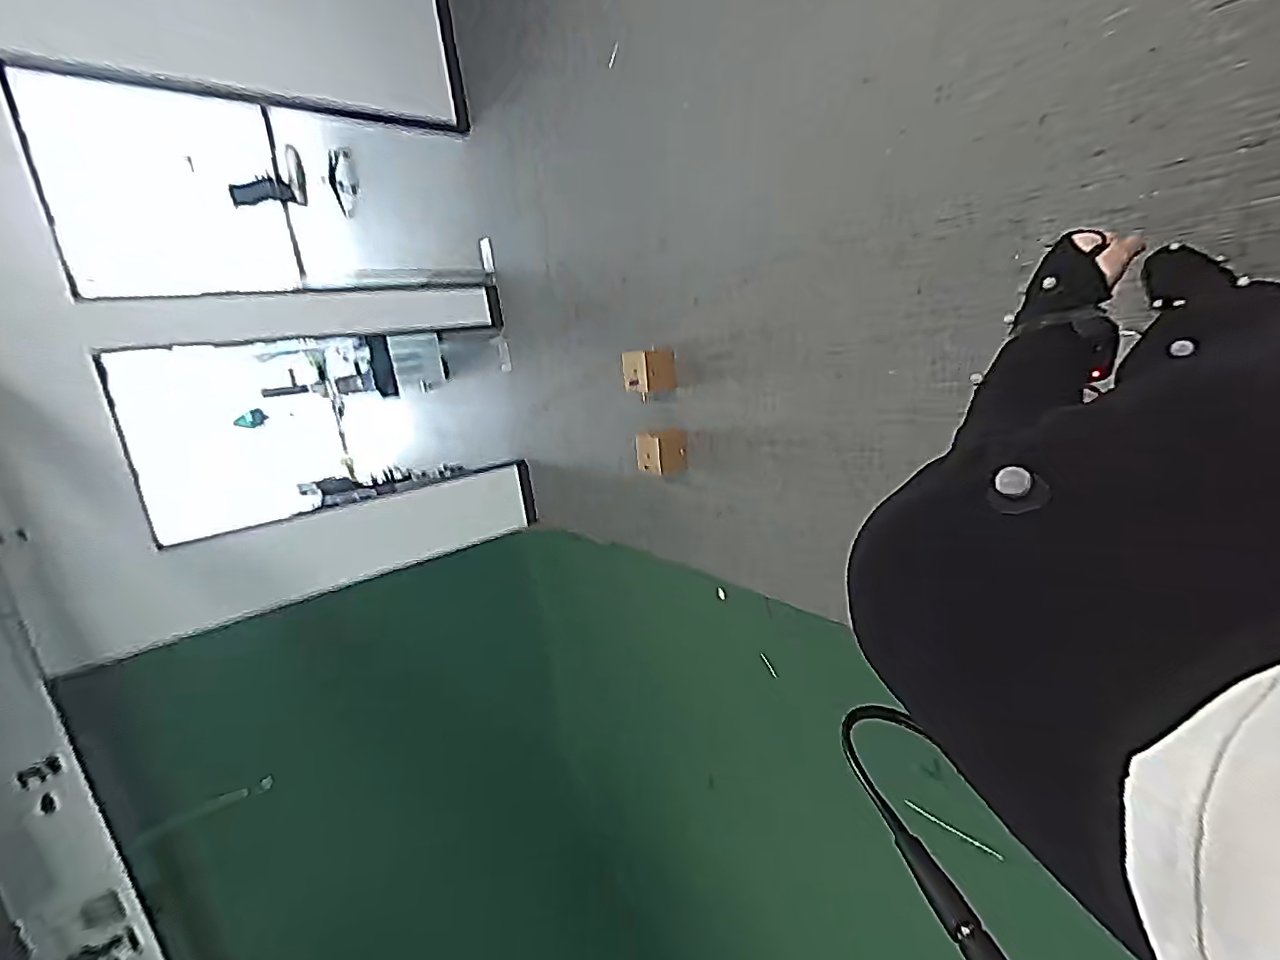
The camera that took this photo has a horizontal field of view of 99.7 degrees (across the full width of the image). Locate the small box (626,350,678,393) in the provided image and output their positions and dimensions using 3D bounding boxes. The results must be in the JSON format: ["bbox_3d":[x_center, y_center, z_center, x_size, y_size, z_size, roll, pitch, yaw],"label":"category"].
[{"bbox_3d":[0.058,-0.492,2.445,0.168,0.176,0.179,13,113,50],"label":"small box"}]

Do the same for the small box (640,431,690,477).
[{"bbox_3d":[0.117,-0.128,2.508,0.168,0.176,0.179,16,115,50],"label":"small box"}]
